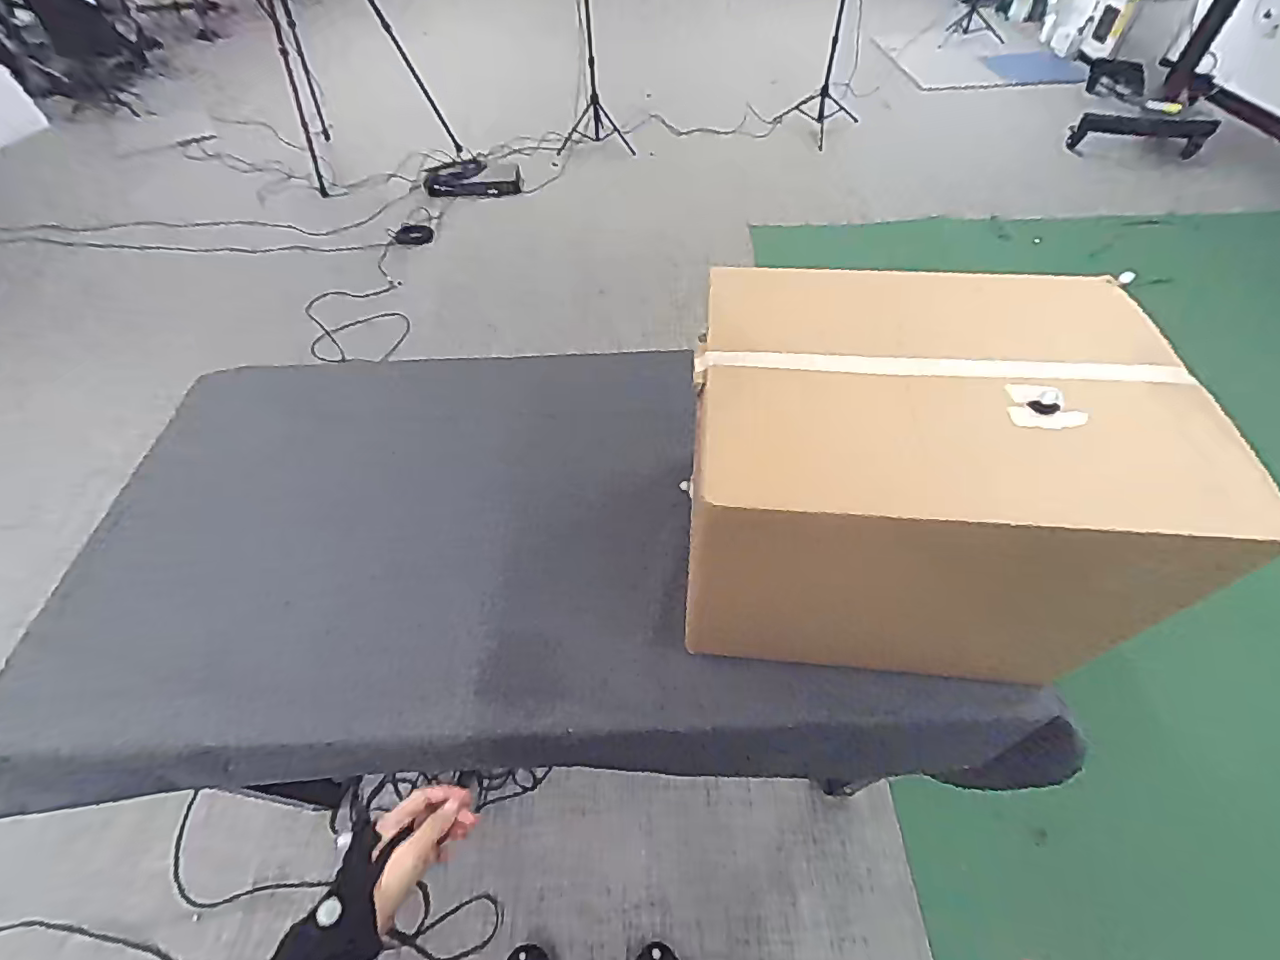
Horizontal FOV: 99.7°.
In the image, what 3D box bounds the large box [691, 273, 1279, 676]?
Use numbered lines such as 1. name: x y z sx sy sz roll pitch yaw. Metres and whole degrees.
1. large box: 0.266 0.001 0.592 0.408 0.320 0.320 4 53 4
